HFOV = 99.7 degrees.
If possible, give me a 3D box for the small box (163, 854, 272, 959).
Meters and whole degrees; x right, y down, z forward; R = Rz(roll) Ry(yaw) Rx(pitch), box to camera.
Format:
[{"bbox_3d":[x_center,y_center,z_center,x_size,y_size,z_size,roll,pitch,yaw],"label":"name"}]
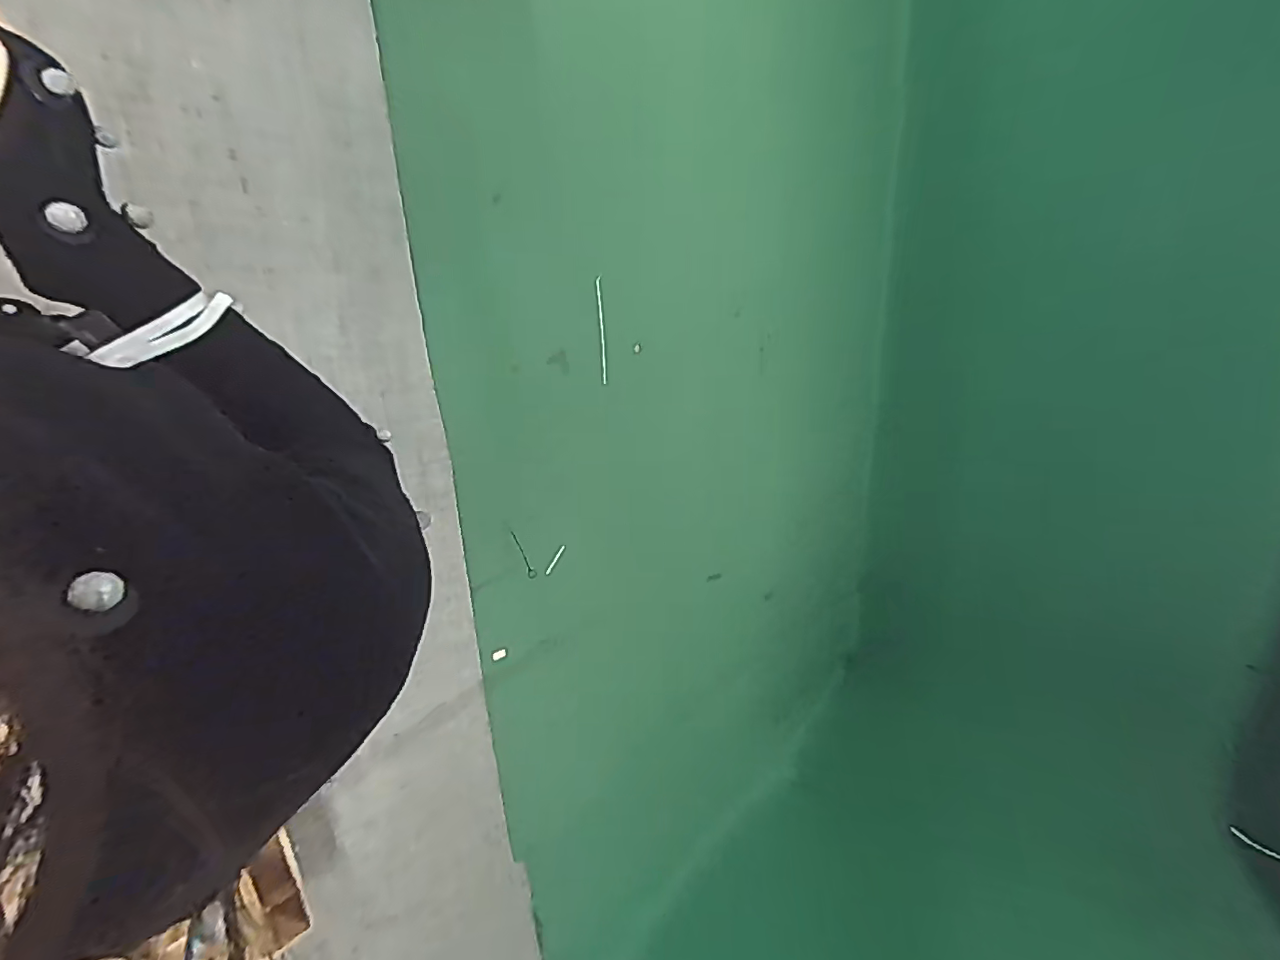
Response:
[{"bbox_3d":[-0.998,1.033,1.275,0.168,0.176,0.179,-15,110,-42],"label":"small box"}]
